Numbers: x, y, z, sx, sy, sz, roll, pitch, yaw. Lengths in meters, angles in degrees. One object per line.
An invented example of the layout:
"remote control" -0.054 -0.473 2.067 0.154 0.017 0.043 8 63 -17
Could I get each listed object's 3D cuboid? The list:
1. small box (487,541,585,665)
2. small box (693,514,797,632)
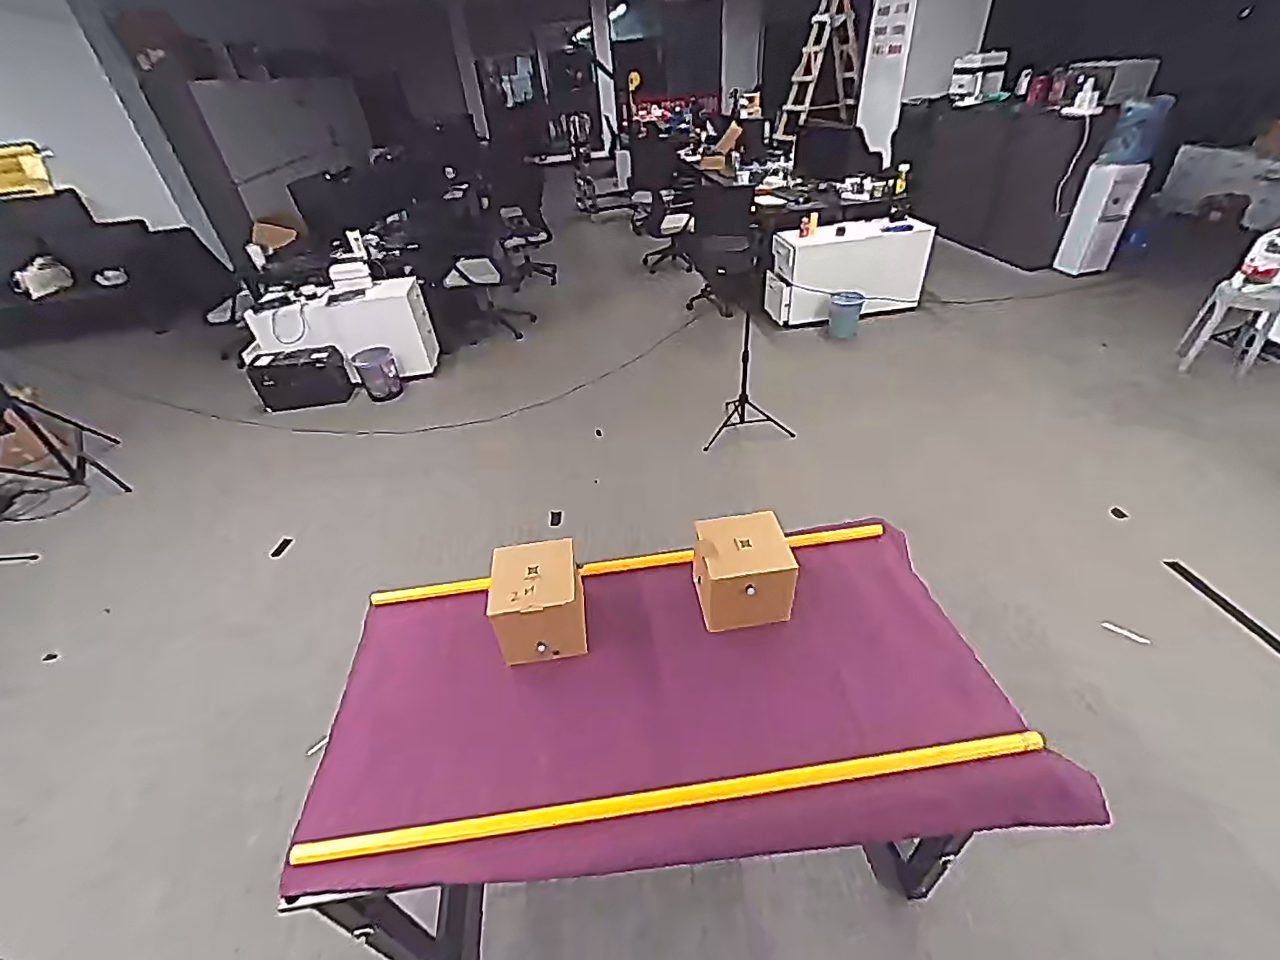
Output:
"small box" -0.207 0.253 1.117 0.168 0.176 0.179 -8 39 -3
"small box" 0.212 0.196 1.139 0.179 0.176 0.168 -8 39 -2
